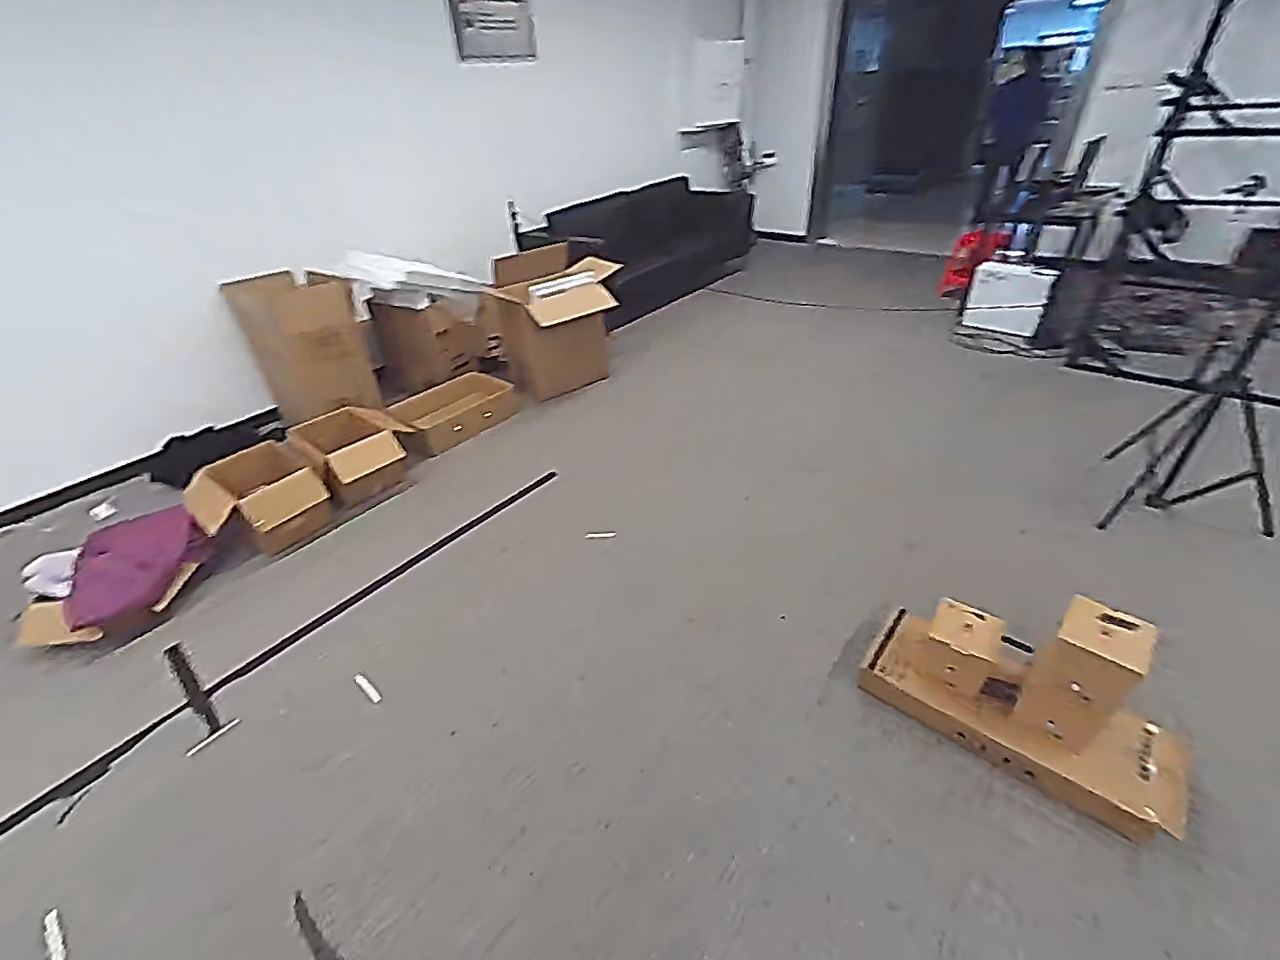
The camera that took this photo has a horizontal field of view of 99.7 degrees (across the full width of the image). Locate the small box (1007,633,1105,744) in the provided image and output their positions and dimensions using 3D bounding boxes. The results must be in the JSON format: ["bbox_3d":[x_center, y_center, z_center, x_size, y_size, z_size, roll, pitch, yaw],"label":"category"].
[{"bbox_3d":[1.099,0.547,1.423,0.168,0.176,0.179,23,43,33],"label":"small box"}]

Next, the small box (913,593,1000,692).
[{"bbox_3d":[0.904,0.468,1.554,0.168,0.176,0.179,21,43,31],"label":"small box"}]

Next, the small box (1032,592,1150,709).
[{"bbox_3d":[1.098,0.416,1.325,0.168,0.176,0.179,26,45,36],"label":"small box"}]
